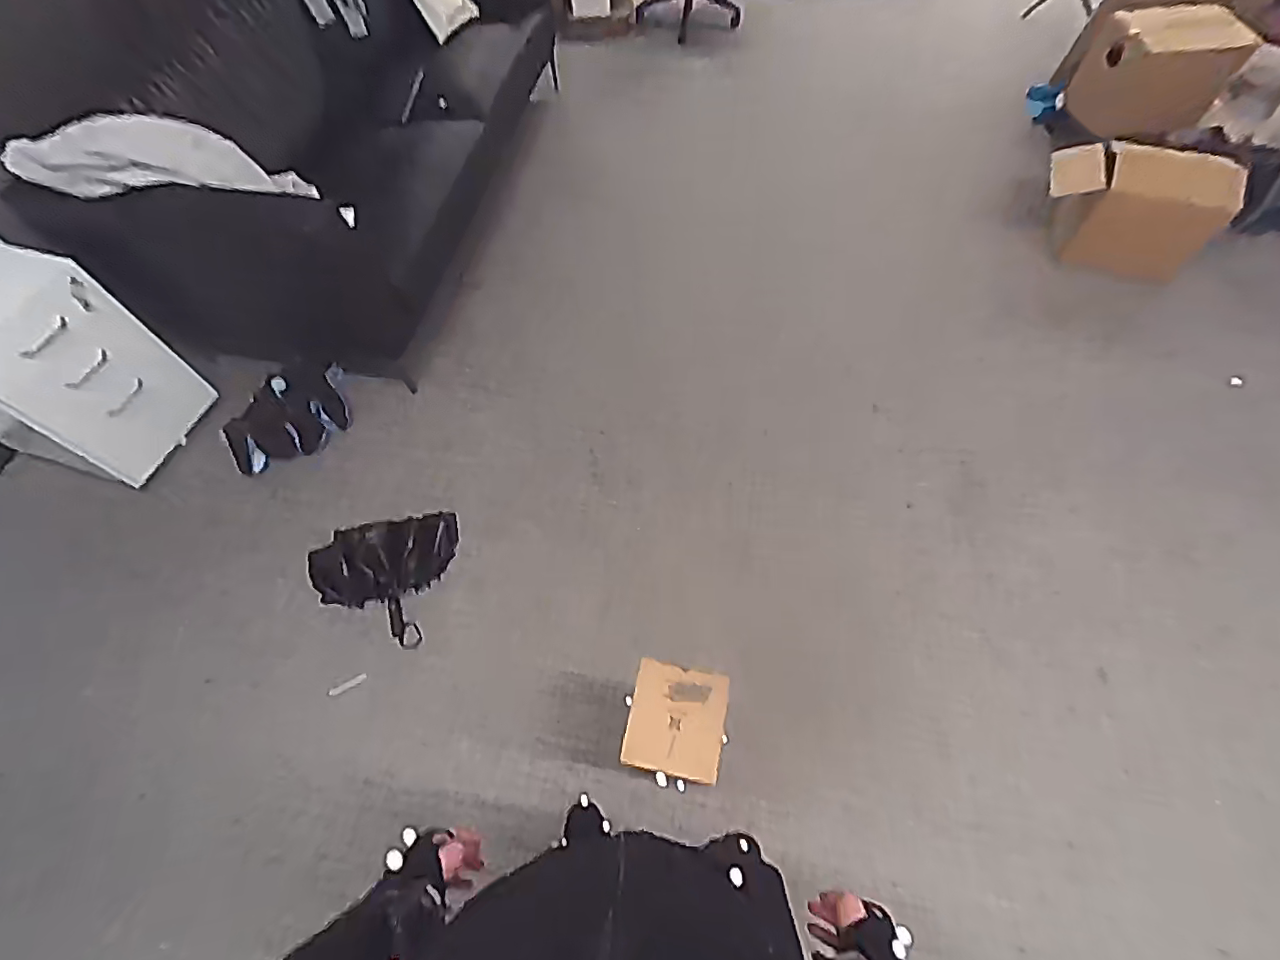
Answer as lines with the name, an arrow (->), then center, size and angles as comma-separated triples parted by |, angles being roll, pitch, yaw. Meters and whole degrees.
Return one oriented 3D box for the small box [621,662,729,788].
small box -> 0.065, 0.461, 1.017 | 0.168, 0.176, 0.179 | 10, 63, 7
